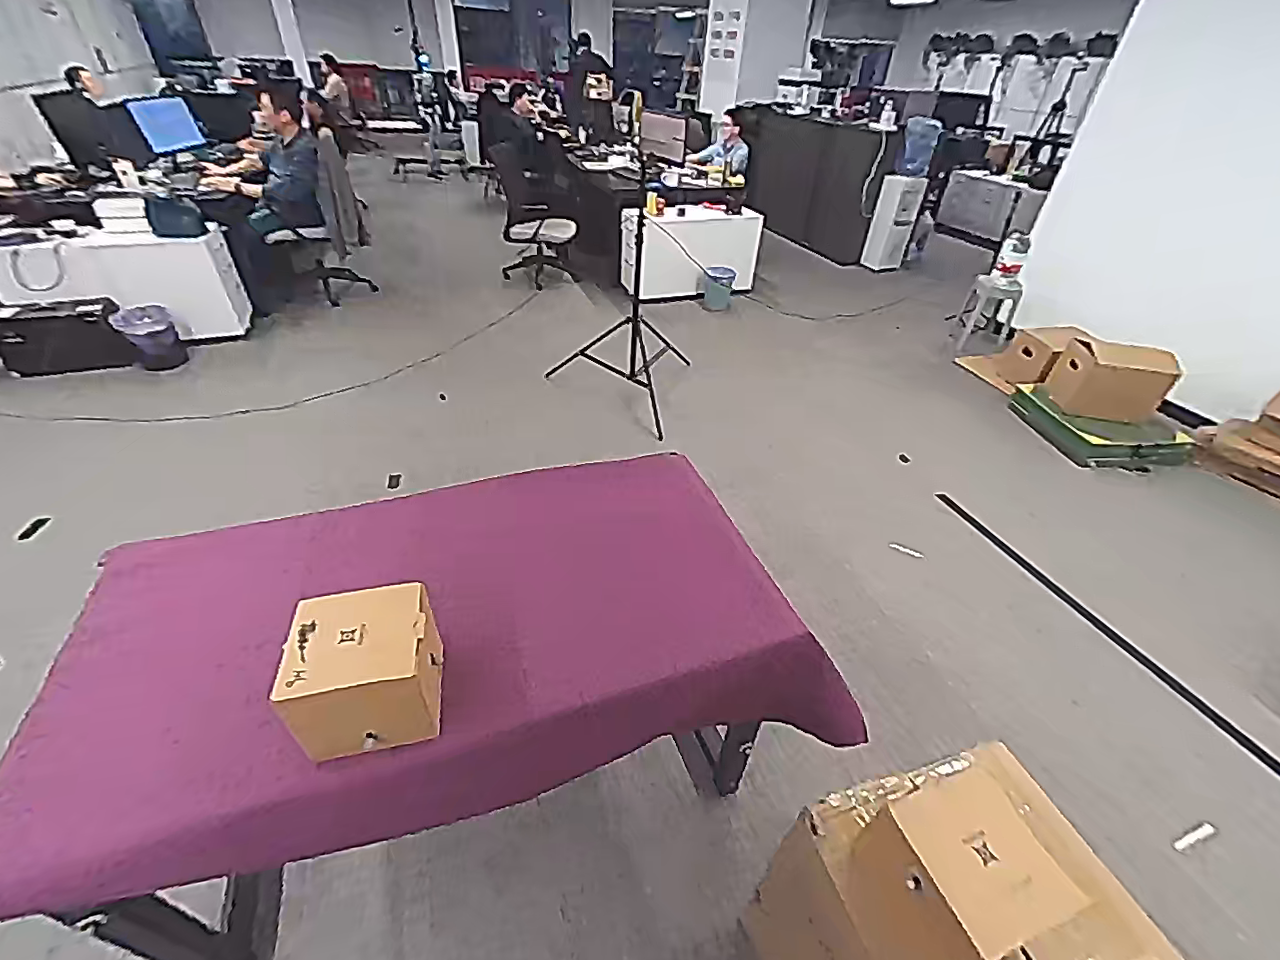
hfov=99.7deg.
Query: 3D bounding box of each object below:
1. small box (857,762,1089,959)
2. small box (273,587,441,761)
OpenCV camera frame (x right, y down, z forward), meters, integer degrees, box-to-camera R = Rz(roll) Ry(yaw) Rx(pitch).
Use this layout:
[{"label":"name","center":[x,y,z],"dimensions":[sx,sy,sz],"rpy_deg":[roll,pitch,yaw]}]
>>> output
[{"label":"small box","center":[0.426,0.525,0.729],"dimensions":[0.168,0.176,0.179],"rpy_deg":[-12,42,-16]},{"label":"small box","center":[-0.399,0.286,0.803],"dimensions":[0.179,0.176,0.168],"rpy_deg":[-6,38,-13]}]
